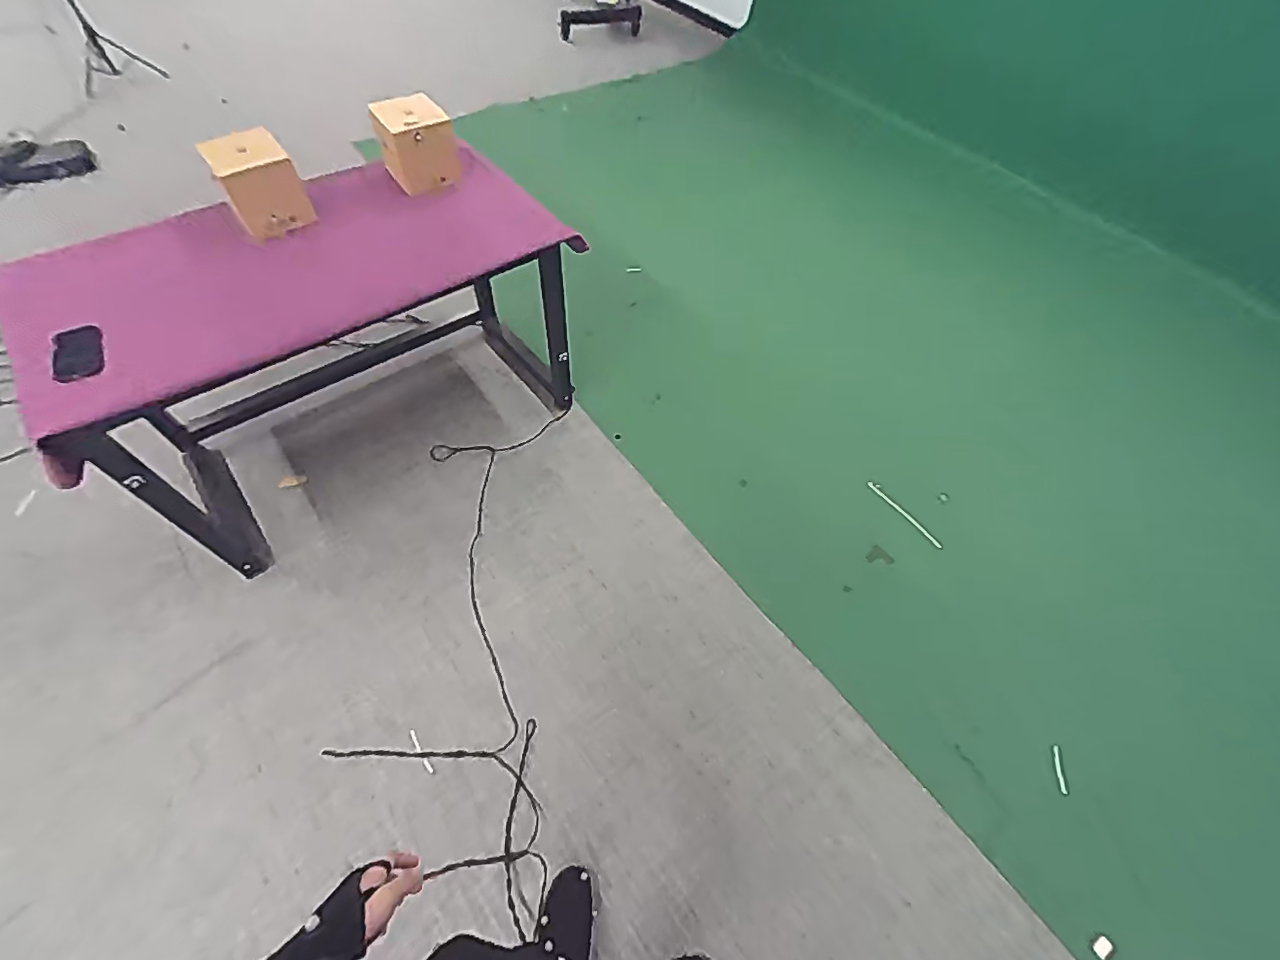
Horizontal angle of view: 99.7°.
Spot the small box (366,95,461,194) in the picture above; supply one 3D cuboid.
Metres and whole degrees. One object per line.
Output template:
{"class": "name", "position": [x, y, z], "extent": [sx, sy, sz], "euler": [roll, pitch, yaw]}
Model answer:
{"class": "small box", "position": [-0.625, -0.932, 1.506], "extent": [0.168, 0.176, 0.179], "euler": [-30, 63, -20]}

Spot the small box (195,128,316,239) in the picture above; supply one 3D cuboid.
{"class": "small box", "position": [-0.960, -0.742, 1.360], "extent": [0.168, 0.176, 0.179], "euler": [-33, 65, -22]}
